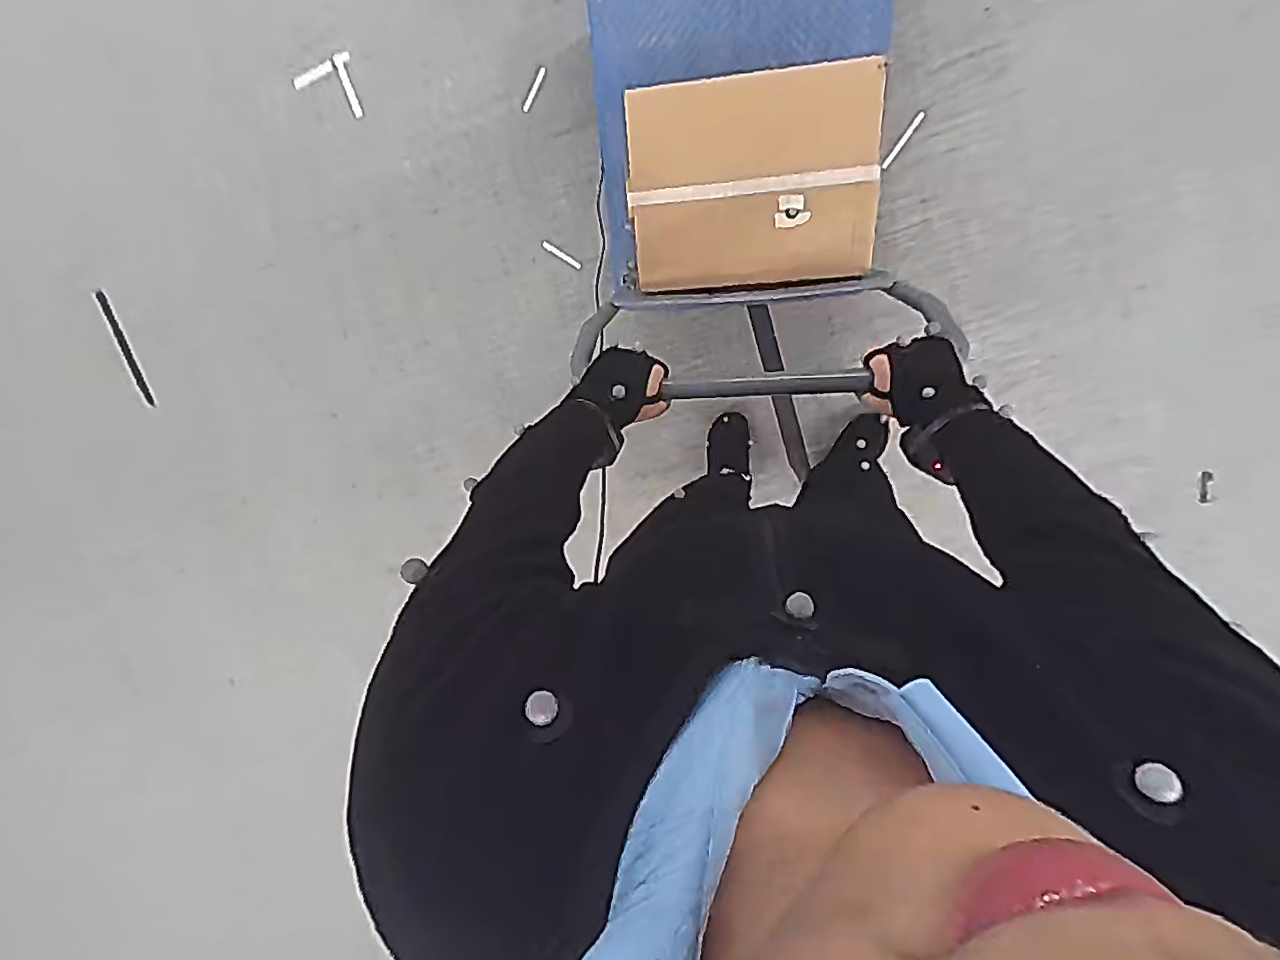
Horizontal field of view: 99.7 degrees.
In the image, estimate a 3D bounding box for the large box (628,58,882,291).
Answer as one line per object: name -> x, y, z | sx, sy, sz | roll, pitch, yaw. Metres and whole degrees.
large box -> 0.206, -0.558, 1.051 | 0.408, 0.320, 0.320 | -2, 114, 8
